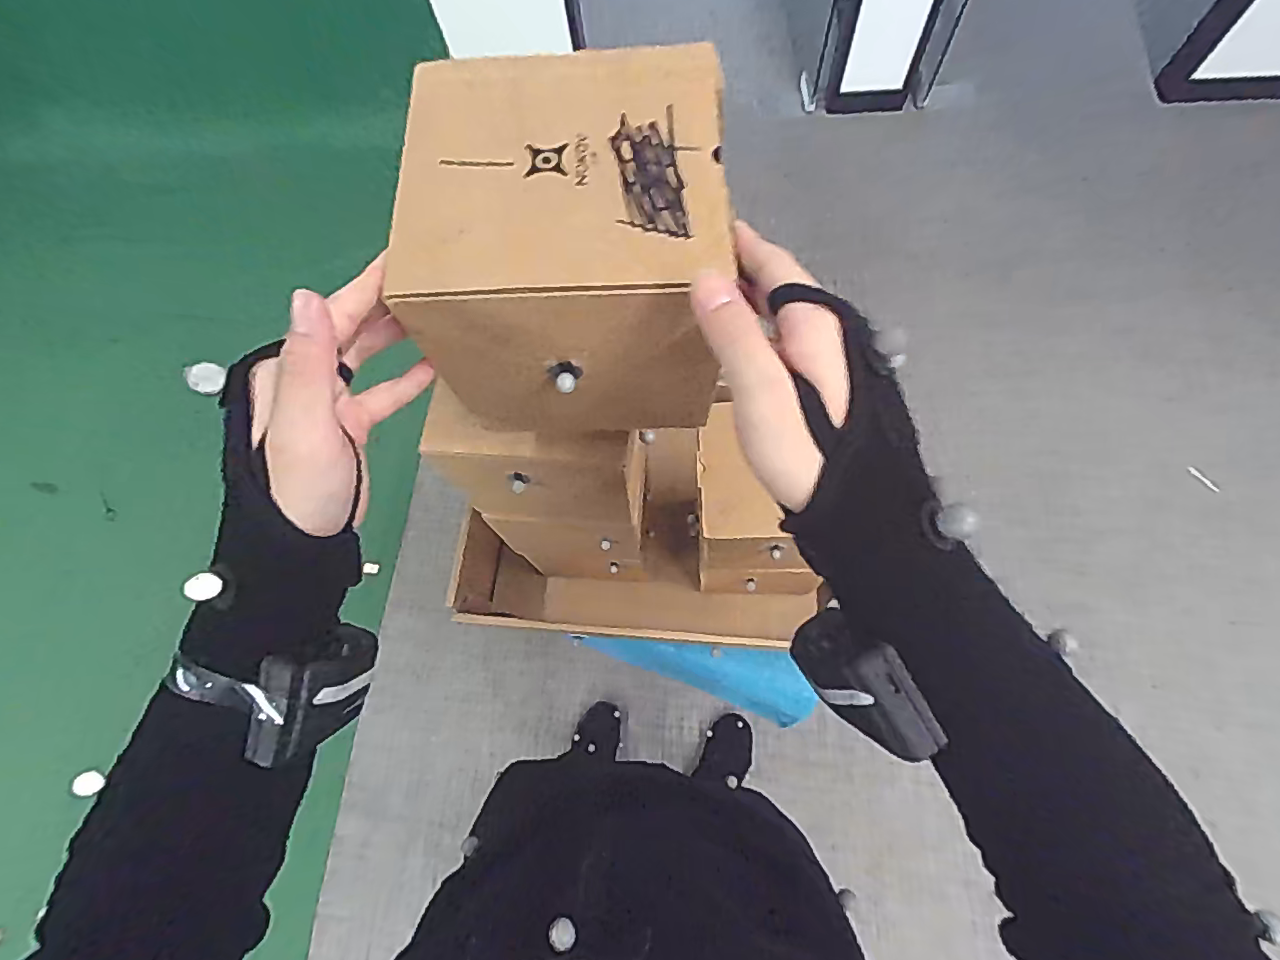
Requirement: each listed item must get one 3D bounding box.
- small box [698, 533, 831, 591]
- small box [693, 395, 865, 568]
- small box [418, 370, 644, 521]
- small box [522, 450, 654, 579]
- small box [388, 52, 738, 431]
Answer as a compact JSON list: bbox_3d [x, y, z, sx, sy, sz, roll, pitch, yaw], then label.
[{"bbox_3d":[0.181,0.073,0.821,0.179,0.176,0.168,-2,69,8],"label":"small box"},{"bbox_3d":[0.159,0.012,0.670,0.179,0.176,0.168,-2,69,6],"label":"small box"},{"bbox_3d":[-0.090,-0.063,0.550,0.179,0.176,0.168,4,70,4],"label":"small box"},{"bbox_3d":[-0.071,0.058,0.856,0.179,0.176,0.168,3,69,4],"label":"small box"},{"bbox_3d":[-0.037,-0.139,0.364,0.179,0.176,0.168,-2,72,2],"label":"small box"}]
